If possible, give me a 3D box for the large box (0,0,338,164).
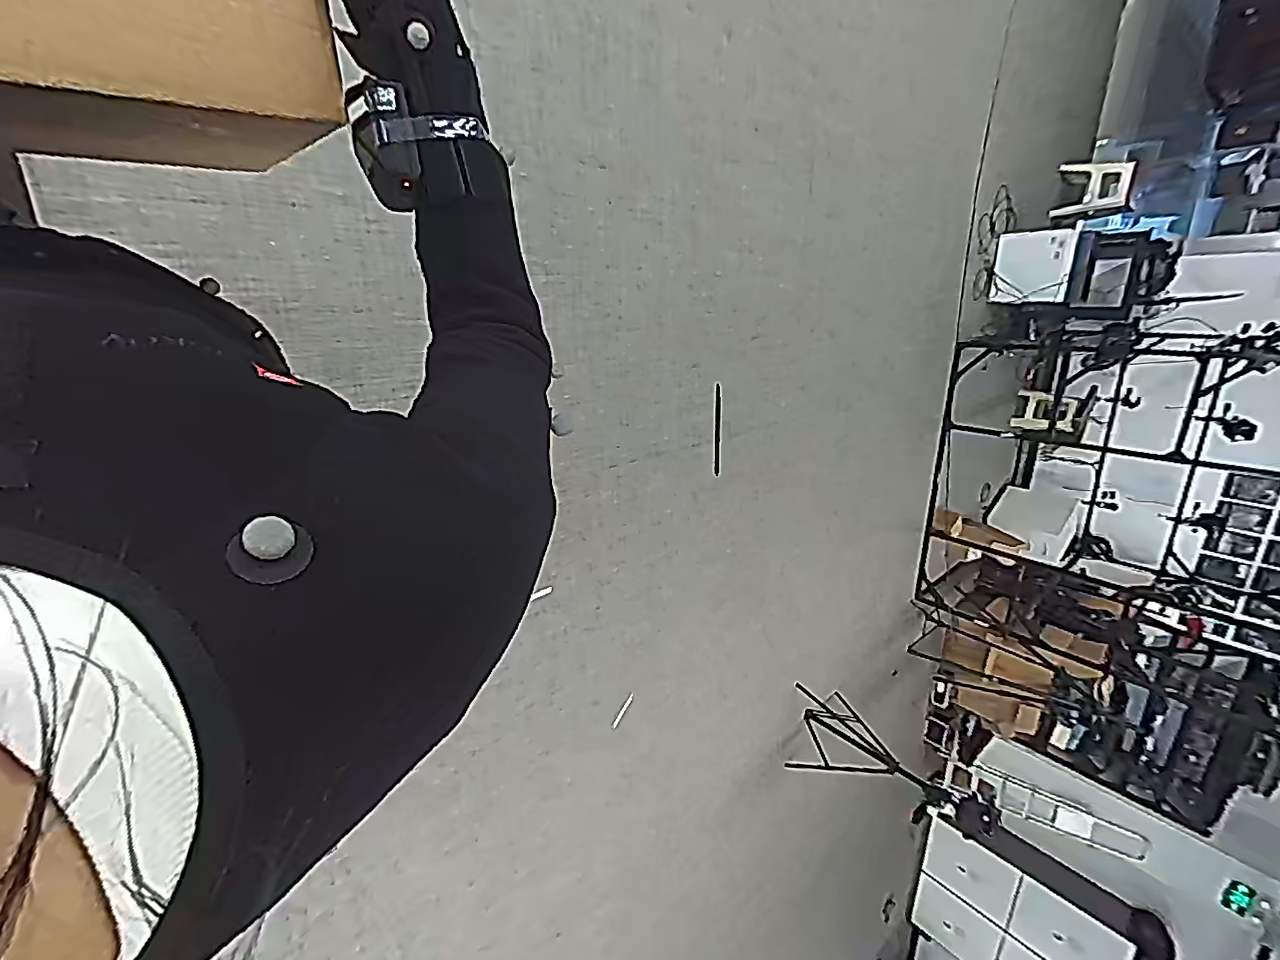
[{"bbox_3d":[-0.453,-0.373,0.289,0.408,0.320,0.320,-20,121,-38],"label":"large box"}]
